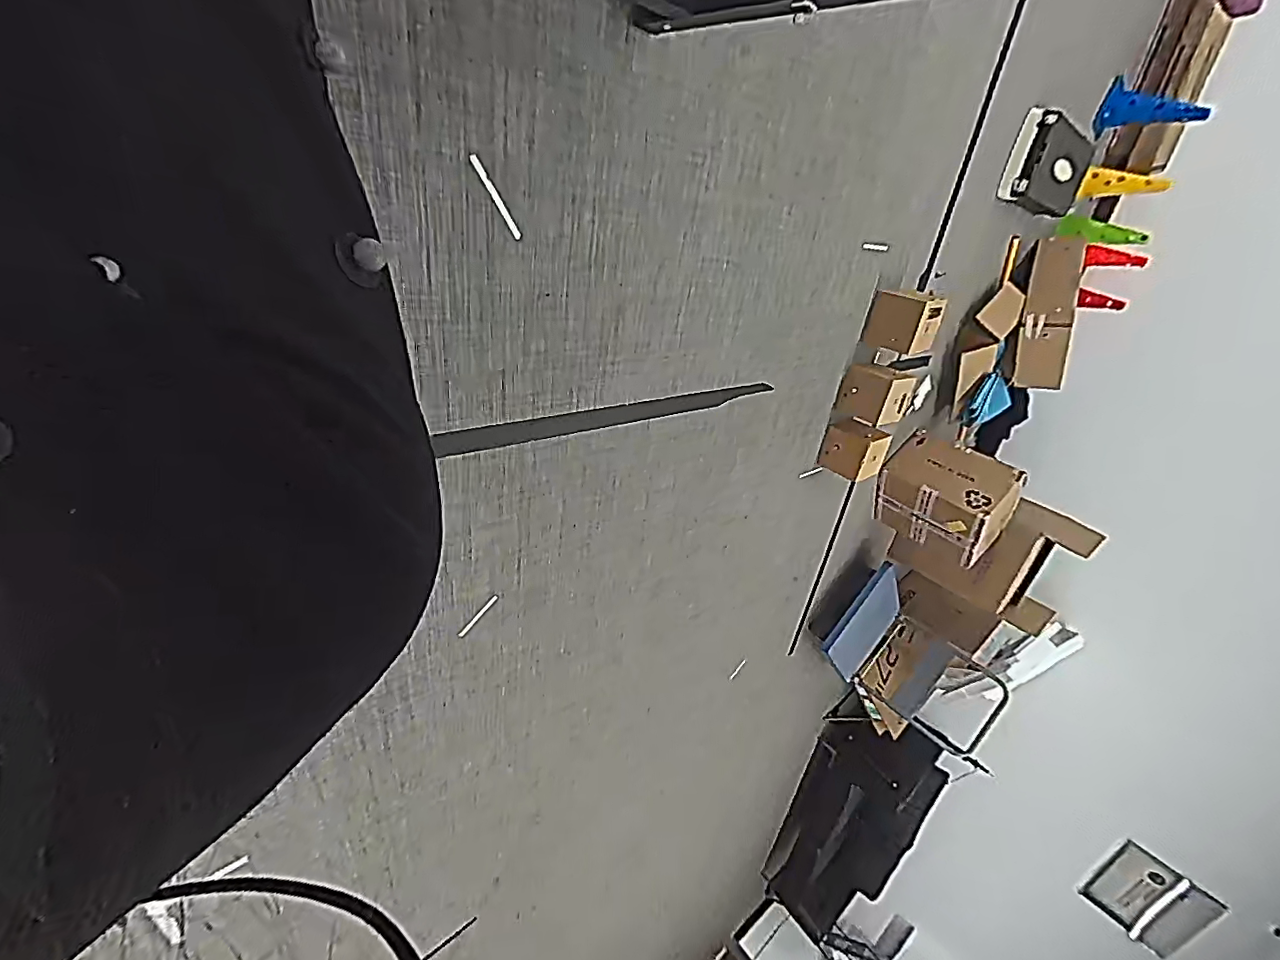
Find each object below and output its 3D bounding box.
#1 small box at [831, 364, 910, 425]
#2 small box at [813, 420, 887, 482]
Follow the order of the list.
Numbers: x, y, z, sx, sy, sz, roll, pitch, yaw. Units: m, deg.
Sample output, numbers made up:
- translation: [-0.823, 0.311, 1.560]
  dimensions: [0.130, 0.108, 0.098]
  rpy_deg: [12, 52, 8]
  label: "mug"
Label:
- translation: [0.818, -0.310, 1.927]
  dimensions: [0.179, 0.176, 0.168]
  rpy_deg: [-14, 125, -40]
  label: "small box"
- translation: [0.789, -0.115, 2.040]
  dimensions: [0.179, 0.176, 0.168]
  rpy_deg: [-16, 127, -39]
  label: "small box"
